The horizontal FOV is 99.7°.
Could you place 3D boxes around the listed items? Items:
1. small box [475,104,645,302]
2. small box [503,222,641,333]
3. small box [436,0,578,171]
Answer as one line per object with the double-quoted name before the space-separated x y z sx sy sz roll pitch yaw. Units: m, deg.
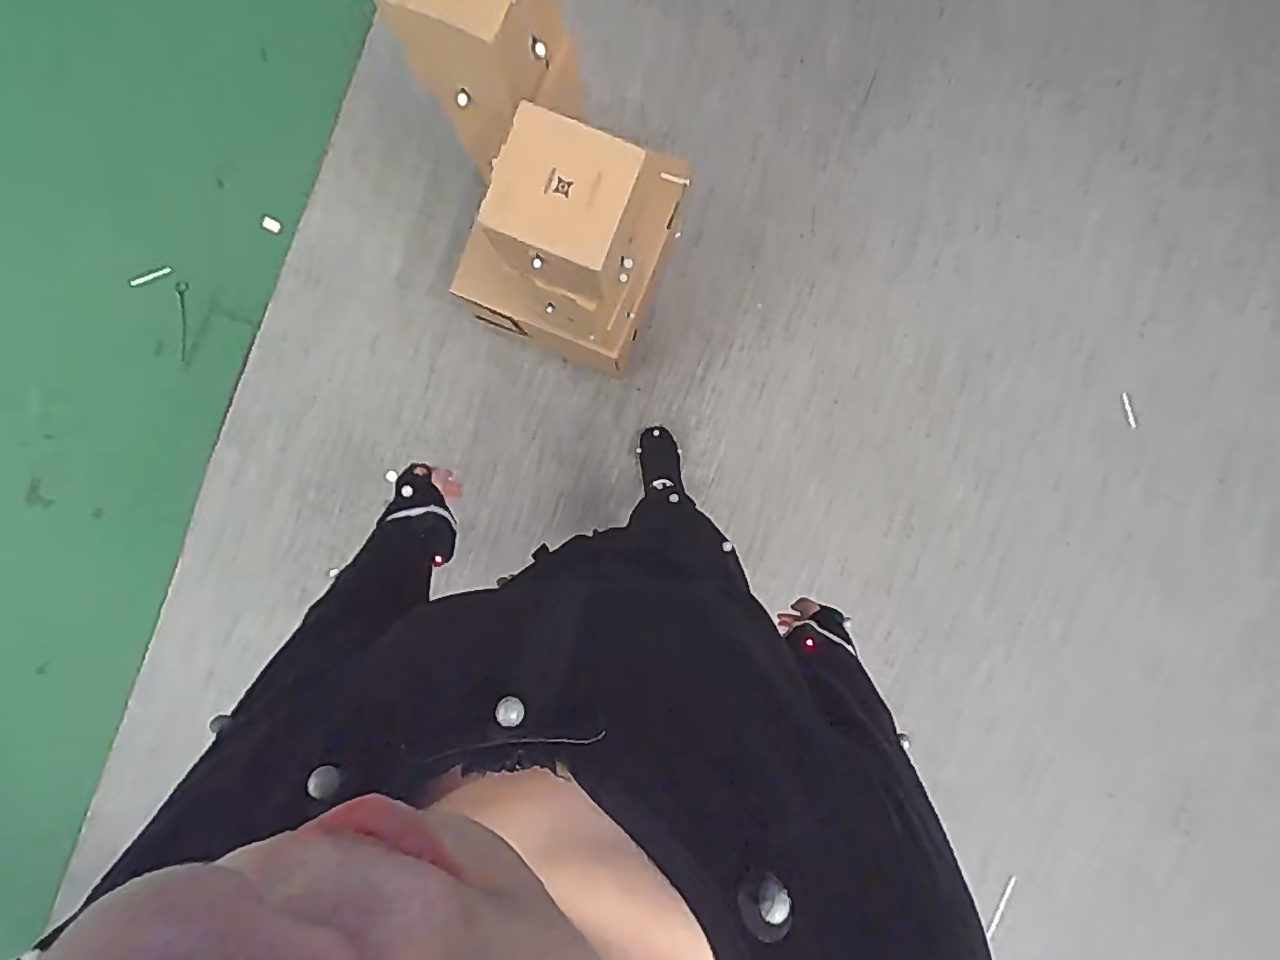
"small box" -0.104 -0.377 0.773 0.179 0.176 0.168 22 92 -2
"small box" -0.110 -0.382 0.936 0.168 0.176 0.179 26 92 -1
"small box" -0.216 -0.650 0.936 0.168 0.176 0.179 24 89 1
